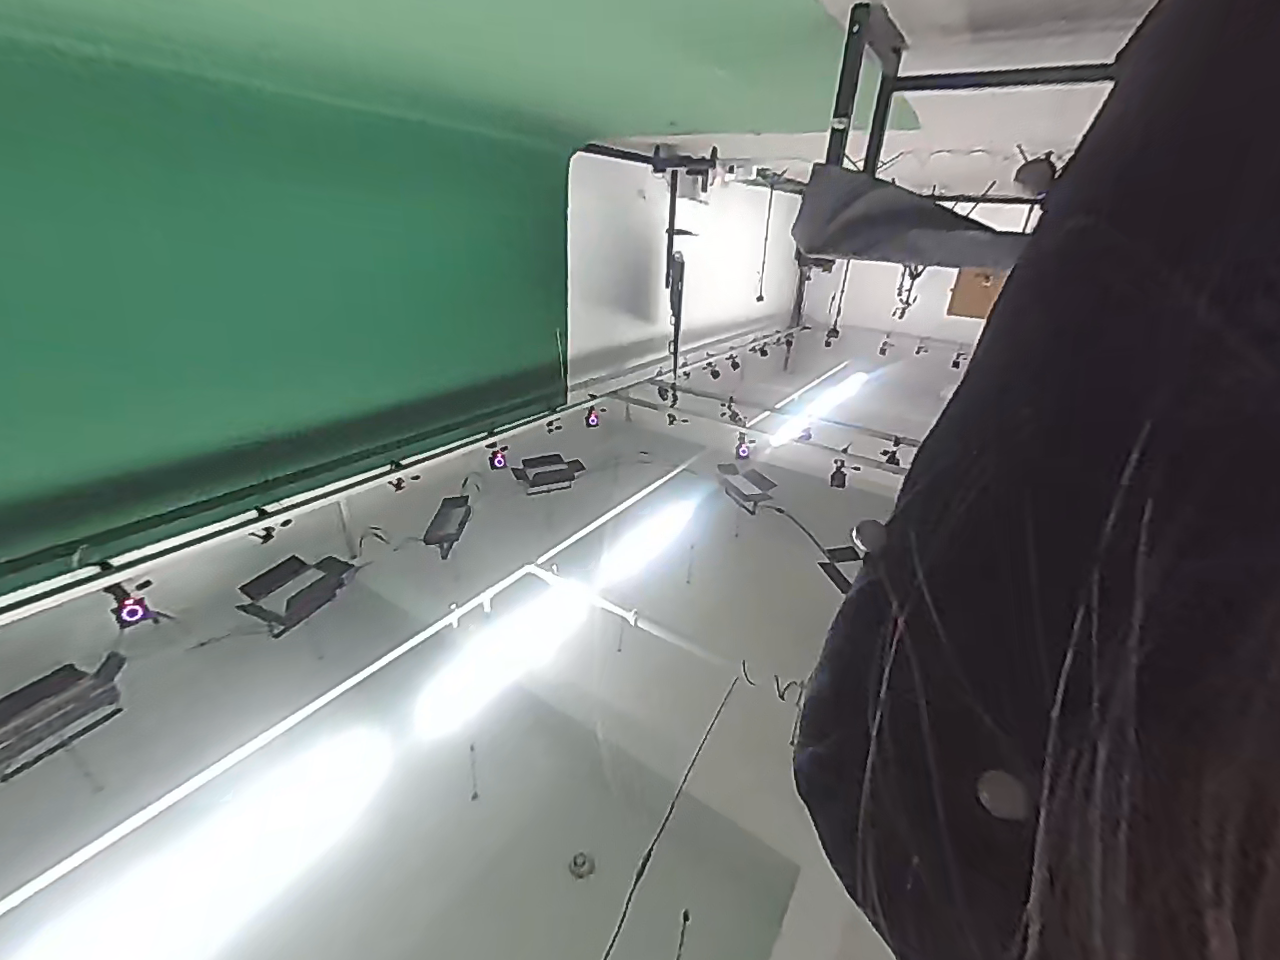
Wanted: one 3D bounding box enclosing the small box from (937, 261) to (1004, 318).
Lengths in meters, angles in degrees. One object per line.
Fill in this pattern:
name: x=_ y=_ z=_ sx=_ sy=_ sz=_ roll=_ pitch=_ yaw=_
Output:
small box: x=1.179 y=-0.684 z=1.926 sx=0.168 sy=0.176 sz=0.179 roll=17 pitch=-152 yaw=27
